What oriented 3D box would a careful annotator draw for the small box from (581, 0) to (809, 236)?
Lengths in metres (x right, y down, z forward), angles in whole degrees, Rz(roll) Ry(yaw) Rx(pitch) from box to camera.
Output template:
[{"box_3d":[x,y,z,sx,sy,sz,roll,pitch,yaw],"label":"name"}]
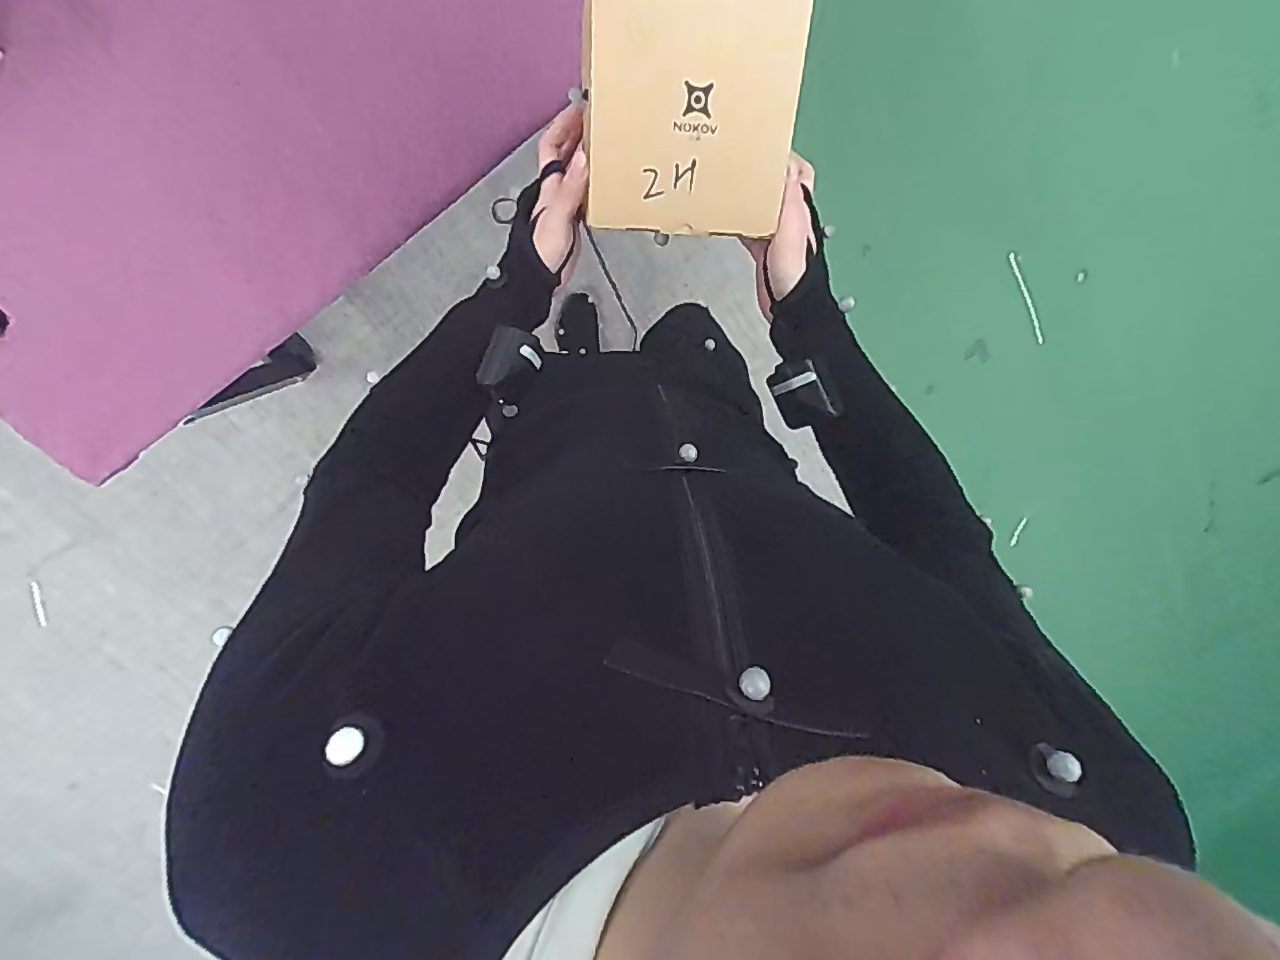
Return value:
[{"box_3d":[0.032,-0.325,0.492,0.168,0.176,0.179,0,117,-7],"label":"small box"}]
